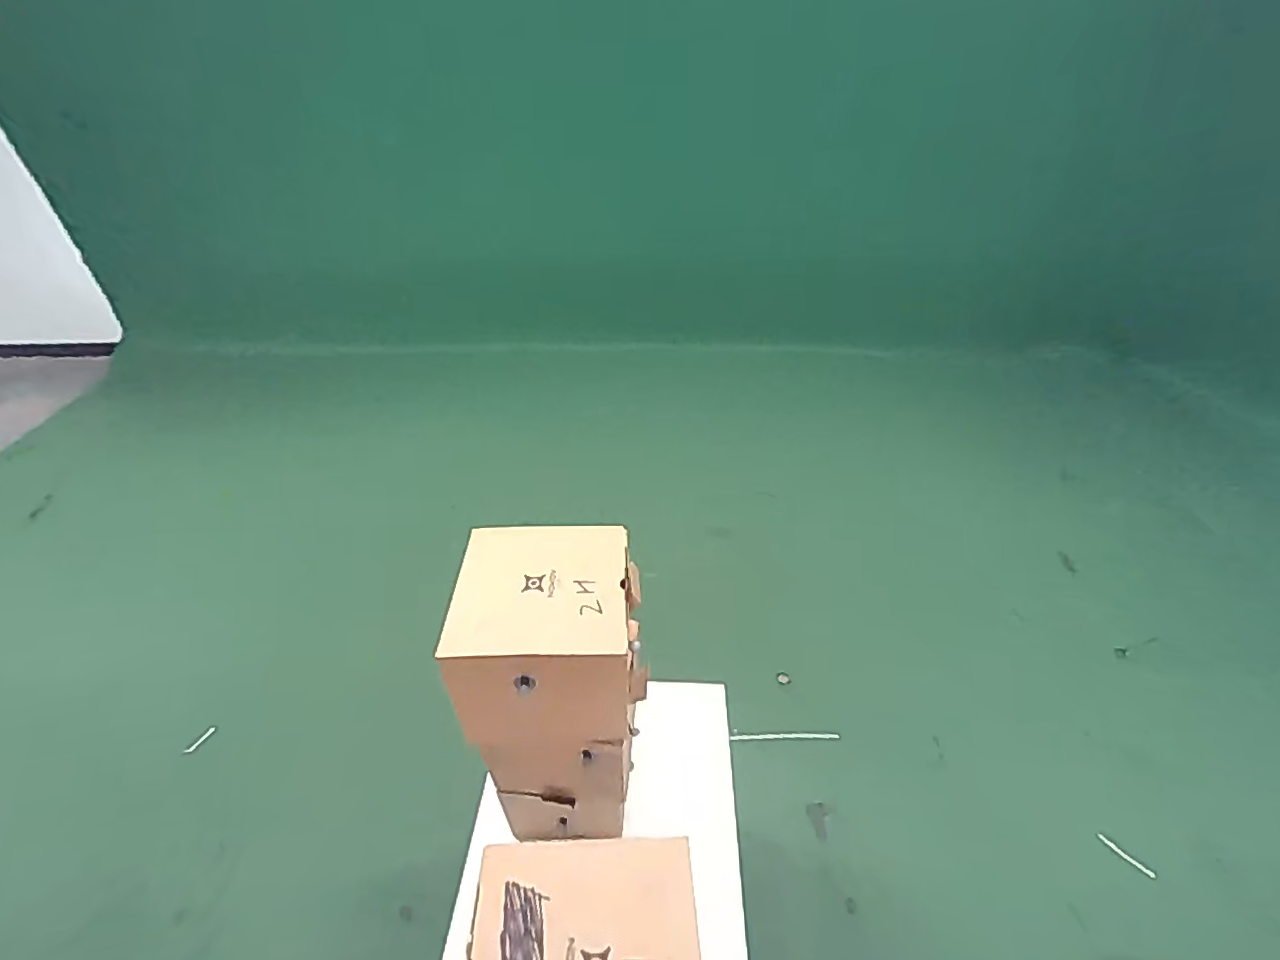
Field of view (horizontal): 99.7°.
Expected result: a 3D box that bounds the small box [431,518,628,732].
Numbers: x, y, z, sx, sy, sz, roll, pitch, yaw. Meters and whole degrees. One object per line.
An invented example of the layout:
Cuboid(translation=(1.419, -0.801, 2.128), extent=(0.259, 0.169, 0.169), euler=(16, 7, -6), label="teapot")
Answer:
Cuboid(translation=(-0.102, 0.159, 0.591), extent=(0.179, 0.176, 0.168), euler=(0, 41, -2), label="small box")

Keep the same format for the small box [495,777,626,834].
Cuboid(translation=(-0.103, 0.404, 0.808), extent=(0.168, 0.176, 0.179), euler=(3, 41, 2), label="small box")

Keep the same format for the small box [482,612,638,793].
Cuboid(translation=(-0.098, 0.281, 0.701), extent=(0.179, 0.176, 0.168), euler=(4, 40, 3), label="small box")
